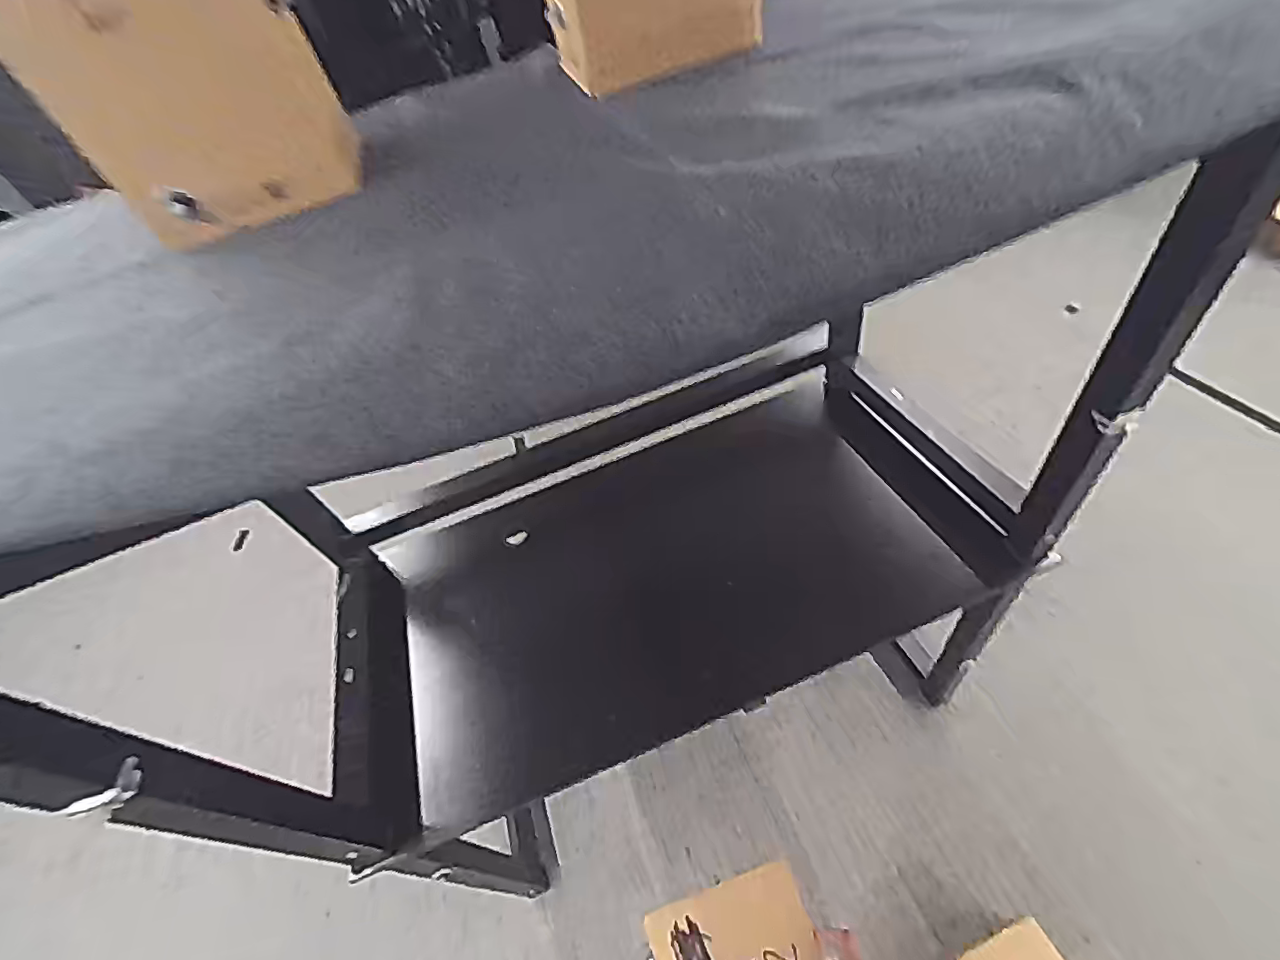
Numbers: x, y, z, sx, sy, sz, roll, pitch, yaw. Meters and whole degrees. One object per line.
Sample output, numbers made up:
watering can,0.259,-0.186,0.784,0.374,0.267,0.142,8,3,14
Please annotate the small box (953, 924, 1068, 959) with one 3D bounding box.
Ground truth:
small box,0.720,0.970,1.014,0.179,0.176,0.168,-24,48,-6

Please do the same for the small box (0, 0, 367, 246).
small box,-0.360,-0.327,0.468,0.168,0.176,0.179,-22,47,-5

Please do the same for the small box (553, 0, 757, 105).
small box,0.004,-0.496,0.519,0.179,0.176,0.168,-20,48,-2
